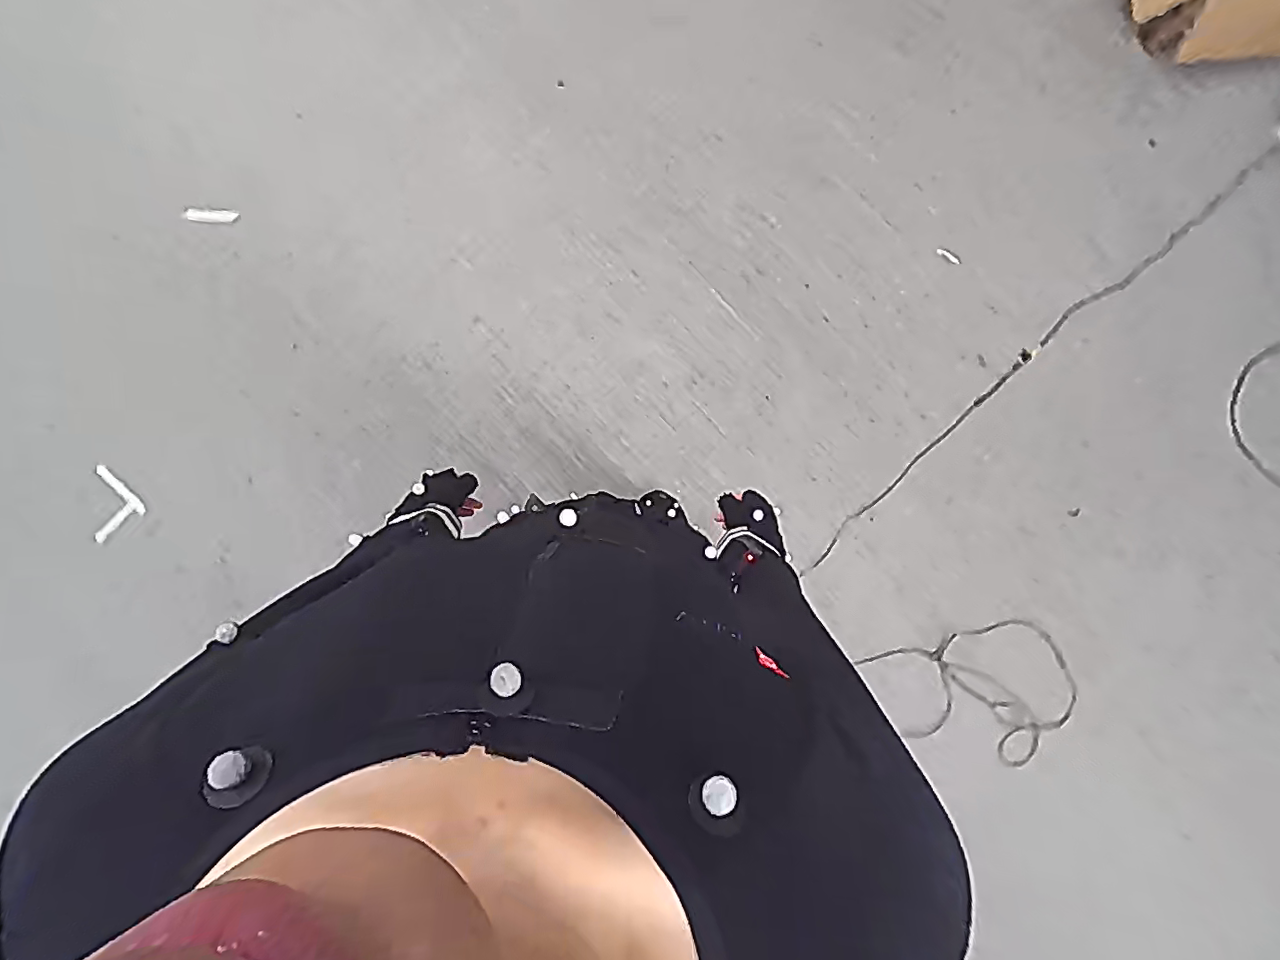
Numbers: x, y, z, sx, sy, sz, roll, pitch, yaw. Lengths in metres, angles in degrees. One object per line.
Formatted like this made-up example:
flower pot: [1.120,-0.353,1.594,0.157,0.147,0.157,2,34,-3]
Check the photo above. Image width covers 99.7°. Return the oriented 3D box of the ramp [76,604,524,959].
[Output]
ramp: [-0.831,0.839,1.387,0.509,0.206,0.991,45,89,1]
